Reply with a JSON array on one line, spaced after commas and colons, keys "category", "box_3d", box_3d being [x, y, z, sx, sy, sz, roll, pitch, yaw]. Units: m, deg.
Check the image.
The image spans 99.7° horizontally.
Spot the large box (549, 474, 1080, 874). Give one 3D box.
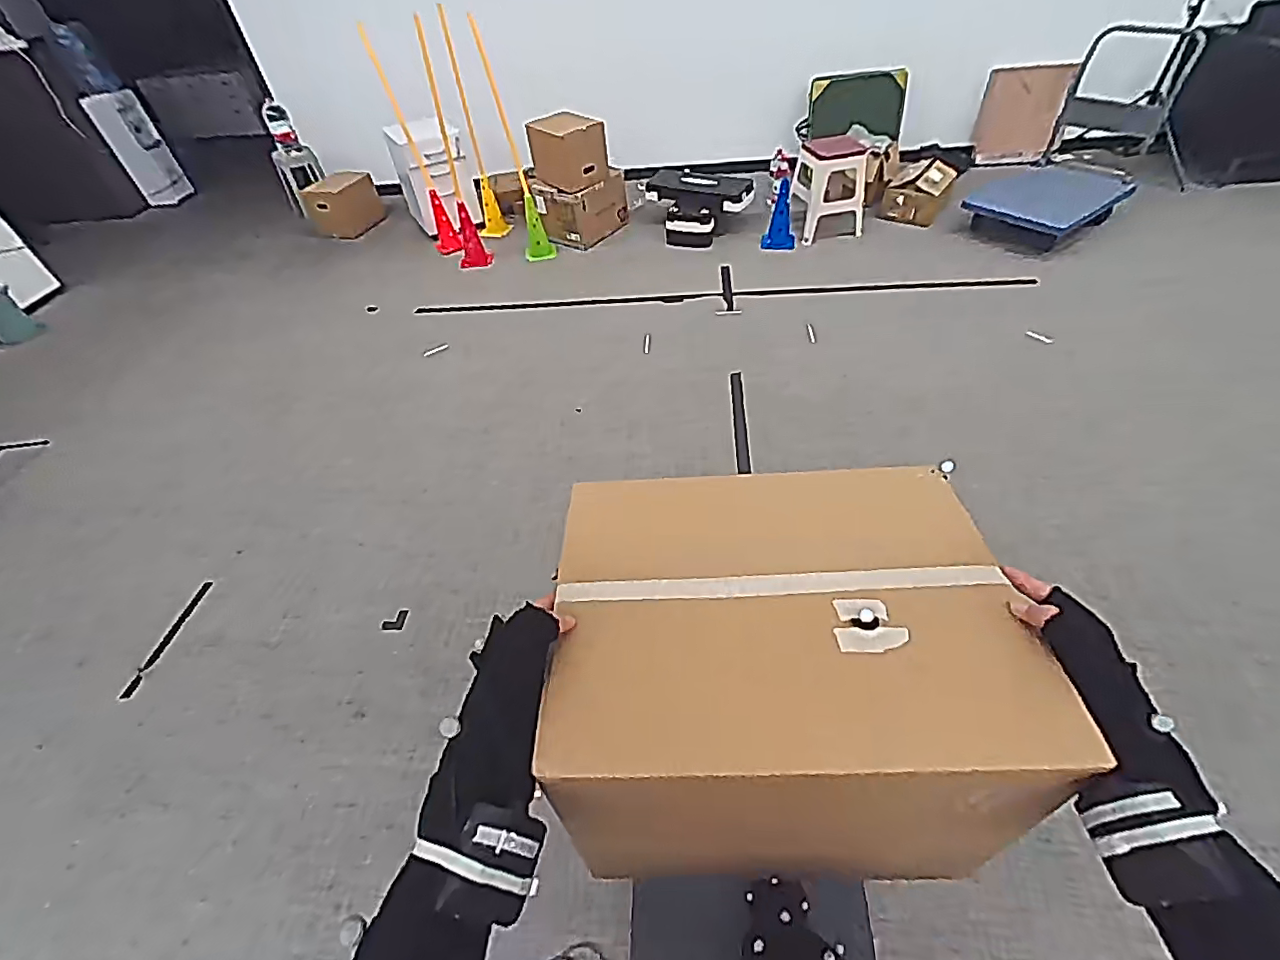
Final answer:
[{"category": "large box", "box_3d": [0.135, 0.216, 0.609, 0.408, 0.320, 0.320, -3, 42, 3]}]
